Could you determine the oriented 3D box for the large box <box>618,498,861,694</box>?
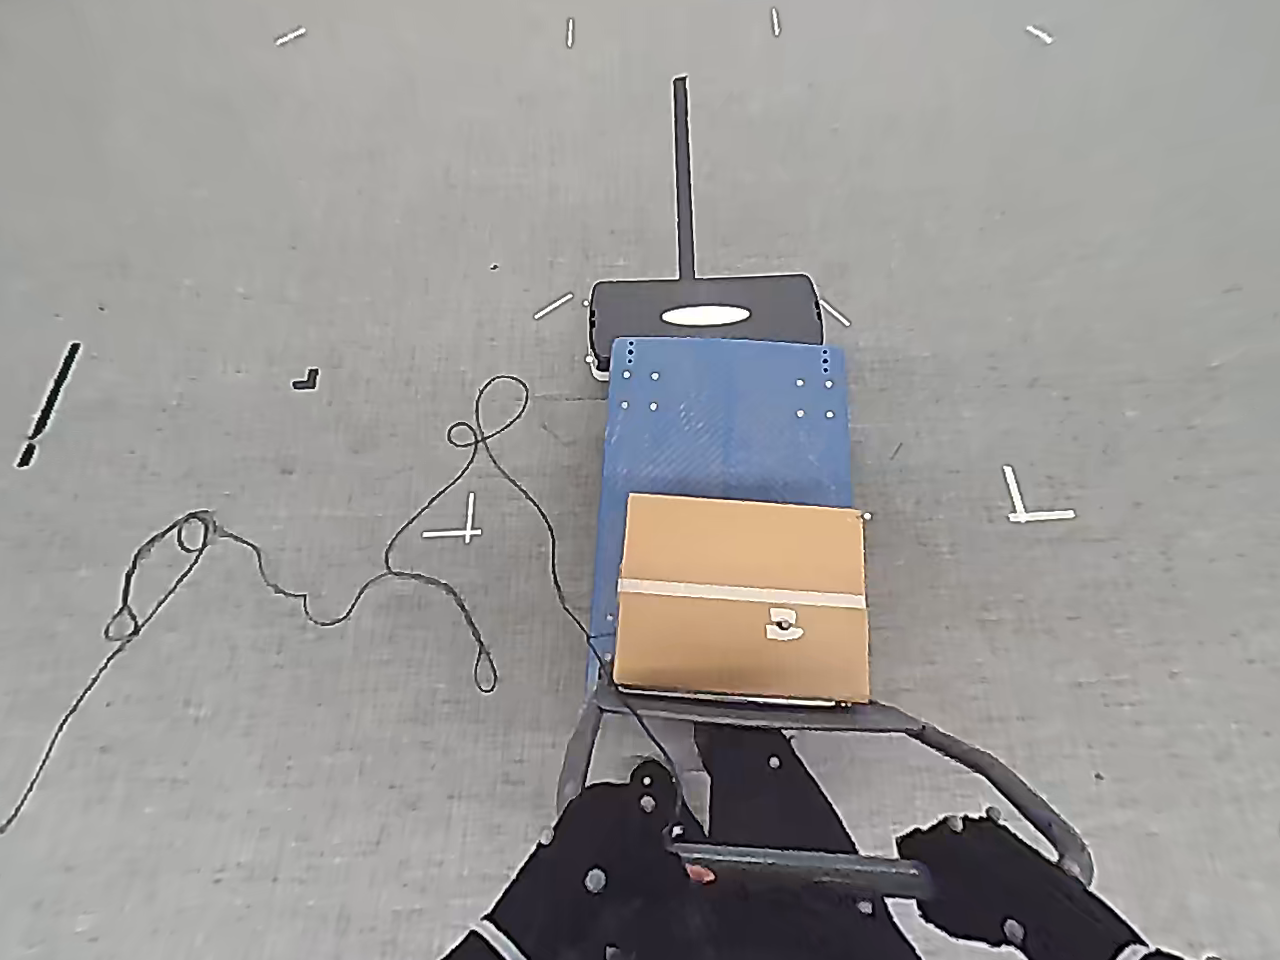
[{"bbox_3d":[0.166,0.230,1.058,0.408,0.320,0.320,4,75,0],"label":"large box"}]
